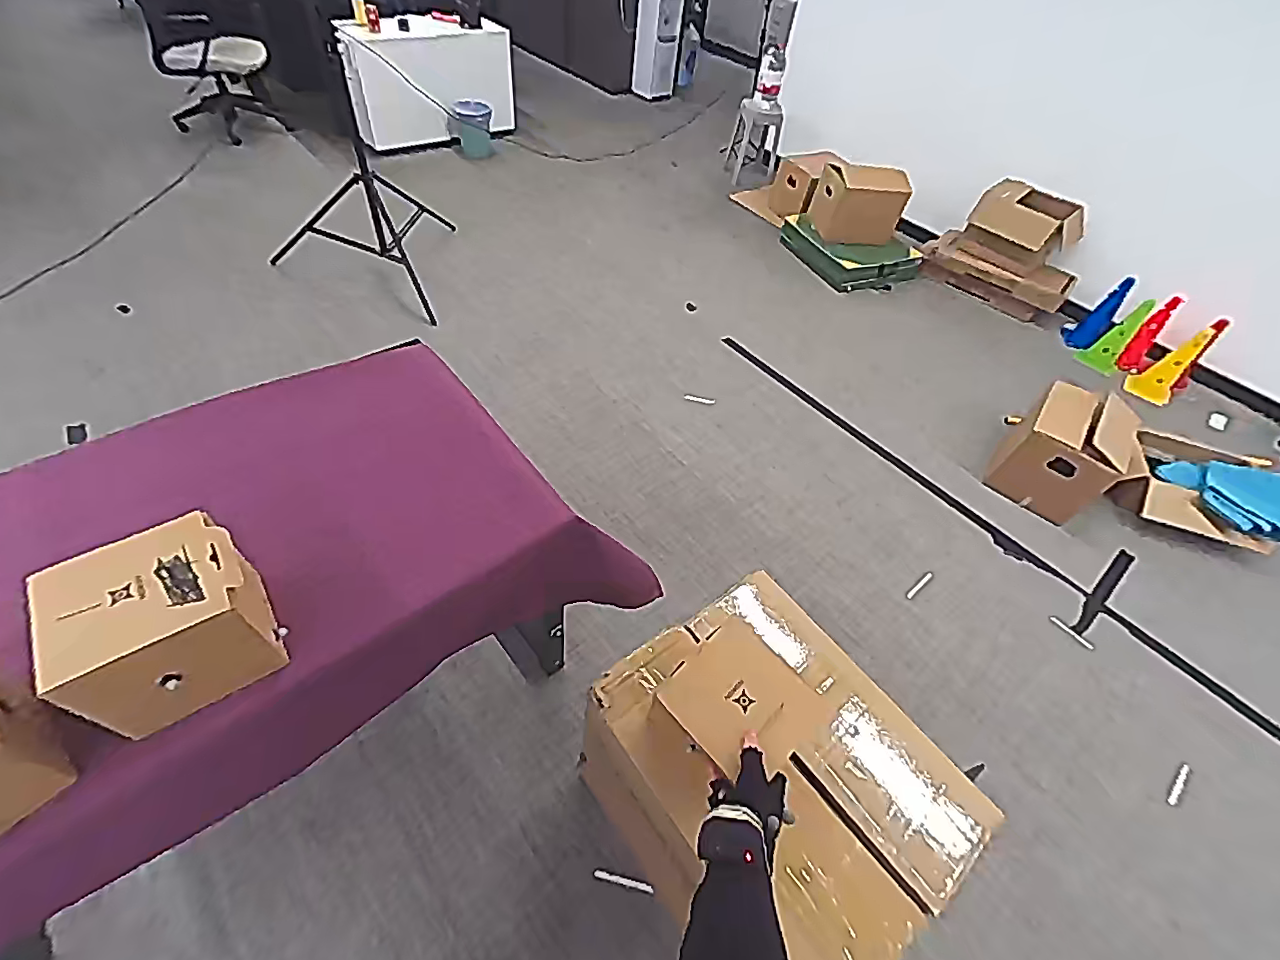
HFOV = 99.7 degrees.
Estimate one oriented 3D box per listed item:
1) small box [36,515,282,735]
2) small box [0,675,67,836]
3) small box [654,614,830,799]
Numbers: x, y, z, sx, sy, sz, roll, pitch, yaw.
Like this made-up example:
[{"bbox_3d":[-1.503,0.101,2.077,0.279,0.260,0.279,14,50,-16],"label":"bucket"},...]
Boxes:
[{"bbox_3d":[-0.583,0.181,0.679,0.179,0.176,0.168,-27,57,-26],"label":"small box"},{"bbox_3d":[-0.757,0.299,0.553,0.168,0.176,0.179,34,52,21],"label":"small box"},{"bbox_3d":[0.134,0.333,0.783,0.168,0.176,0.179,-39,66,-22],"label":"small box"}]
